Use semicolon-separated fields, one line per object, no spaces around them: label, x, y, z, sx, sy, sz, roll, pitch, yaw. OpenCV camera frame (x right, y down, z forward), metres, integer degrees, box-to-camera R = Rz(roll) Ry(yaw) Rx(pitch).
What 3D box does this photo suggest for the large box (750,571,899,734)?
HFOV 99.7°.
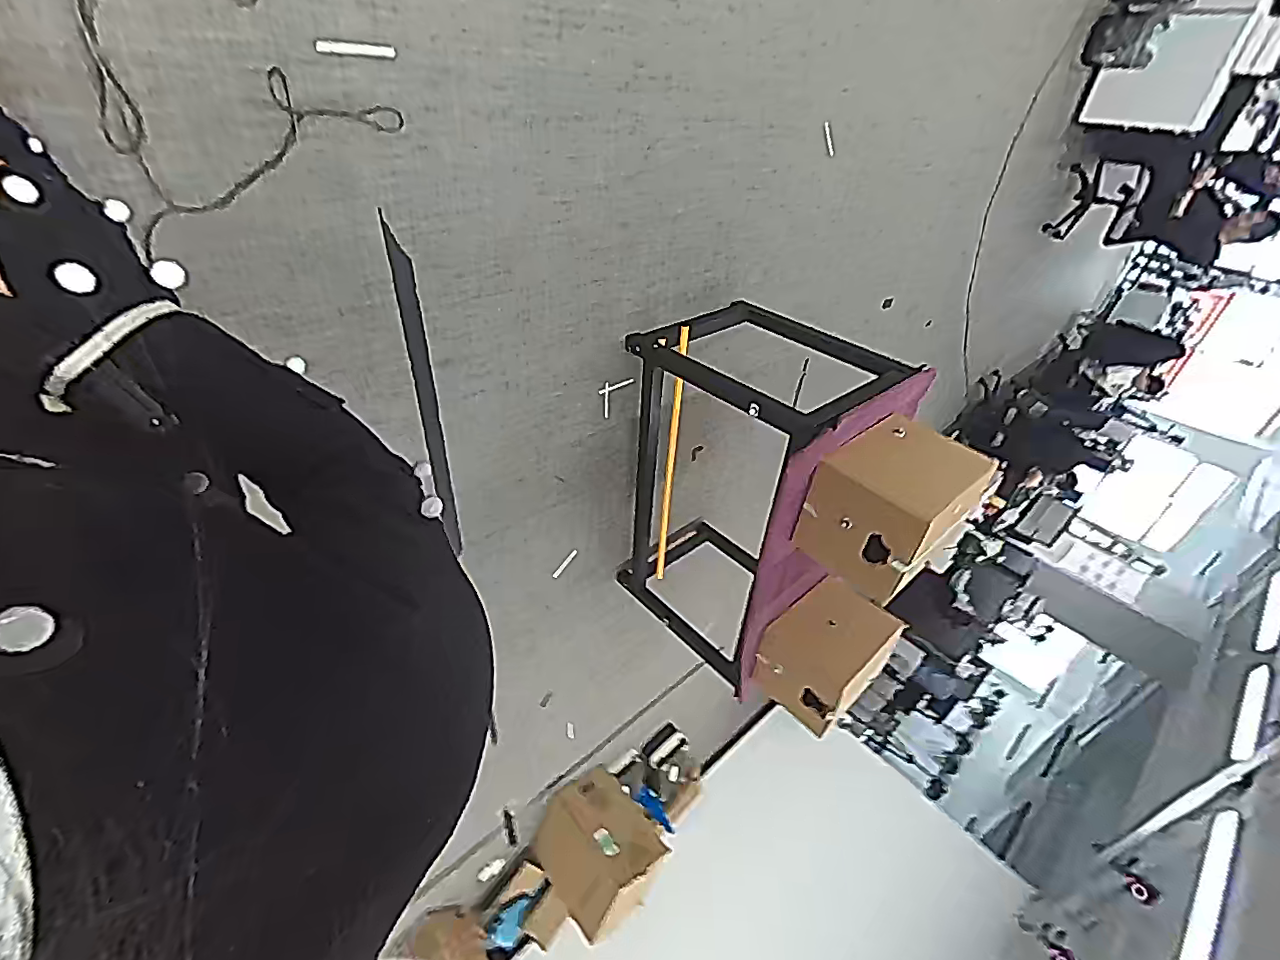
large box;0.654;0.607;1.955;0.408;0.320;0.320;-28;138;-34
